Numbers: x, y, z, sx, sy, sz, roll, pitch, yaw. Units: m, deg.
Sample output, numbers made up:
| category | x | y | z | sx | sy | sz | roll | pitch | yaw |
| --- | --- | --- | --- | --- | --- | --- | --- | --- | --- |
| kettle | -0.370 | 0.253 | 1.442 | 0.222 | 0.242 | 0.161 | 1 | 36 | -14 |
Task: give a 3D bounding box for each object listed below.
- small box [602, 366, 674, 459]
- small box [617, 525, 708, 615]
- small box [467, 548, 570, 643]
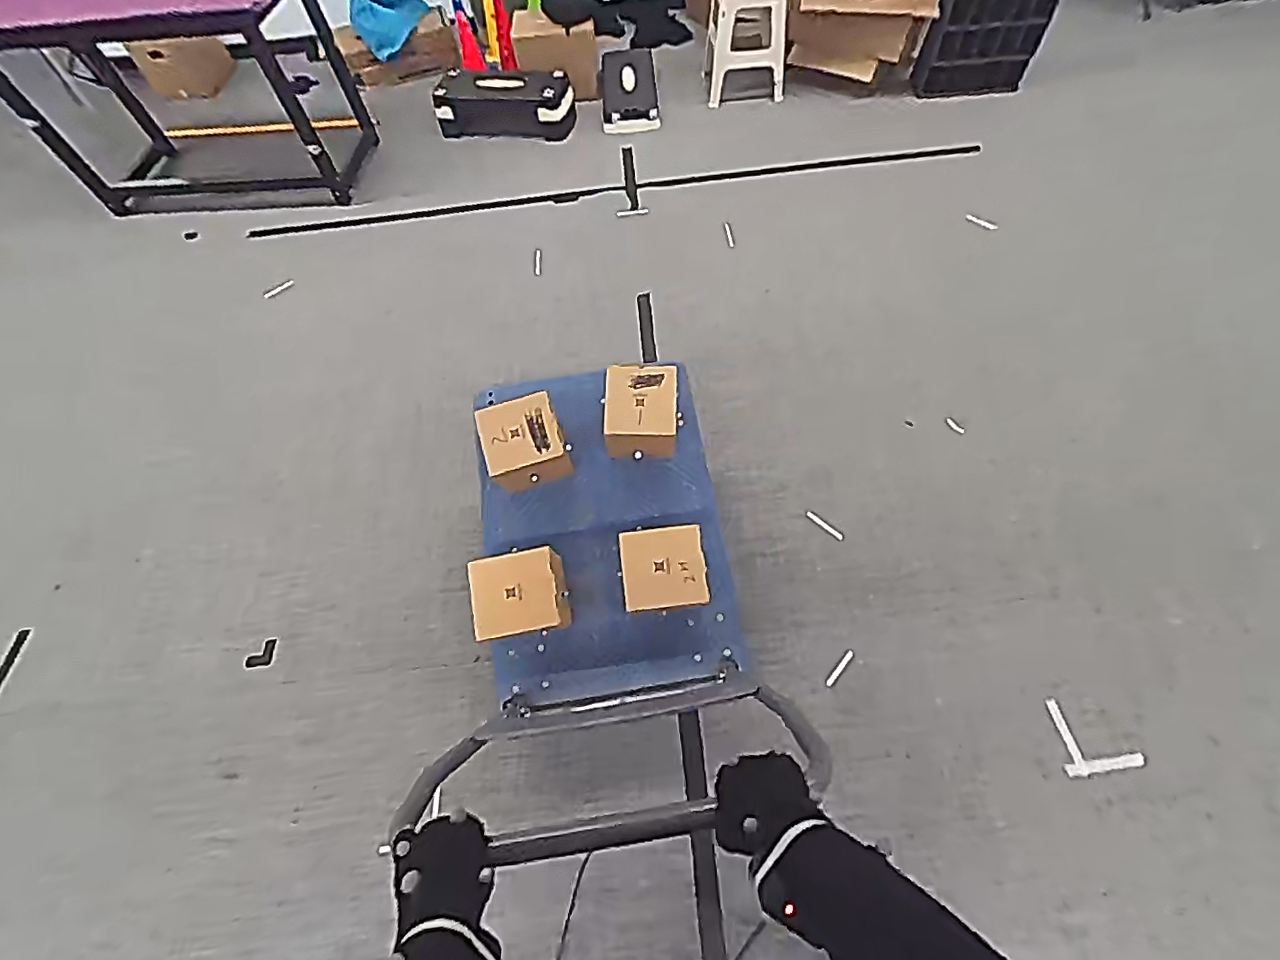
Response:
| category | x | y | z | sx | sy | sz | roll | pitch | yaw |
| --- | --- | --- | --- | --- | --- | --- | --- | --- | --- |
| small box | -0.003 | -0.161 | 1.318 | 0.168 | 0.176 | 0.179 | 1 | 74 | 1 |
| small box | 0.049 | 0.205 | 1.205 | 0.179 | 0.176 | 0.168 | -7 | 73 | -1 |
| small box | -0.263 | 0.261 | 1.195 | 0.179 | 0.176 | 0.168 | -12 | 73 | -4 |
